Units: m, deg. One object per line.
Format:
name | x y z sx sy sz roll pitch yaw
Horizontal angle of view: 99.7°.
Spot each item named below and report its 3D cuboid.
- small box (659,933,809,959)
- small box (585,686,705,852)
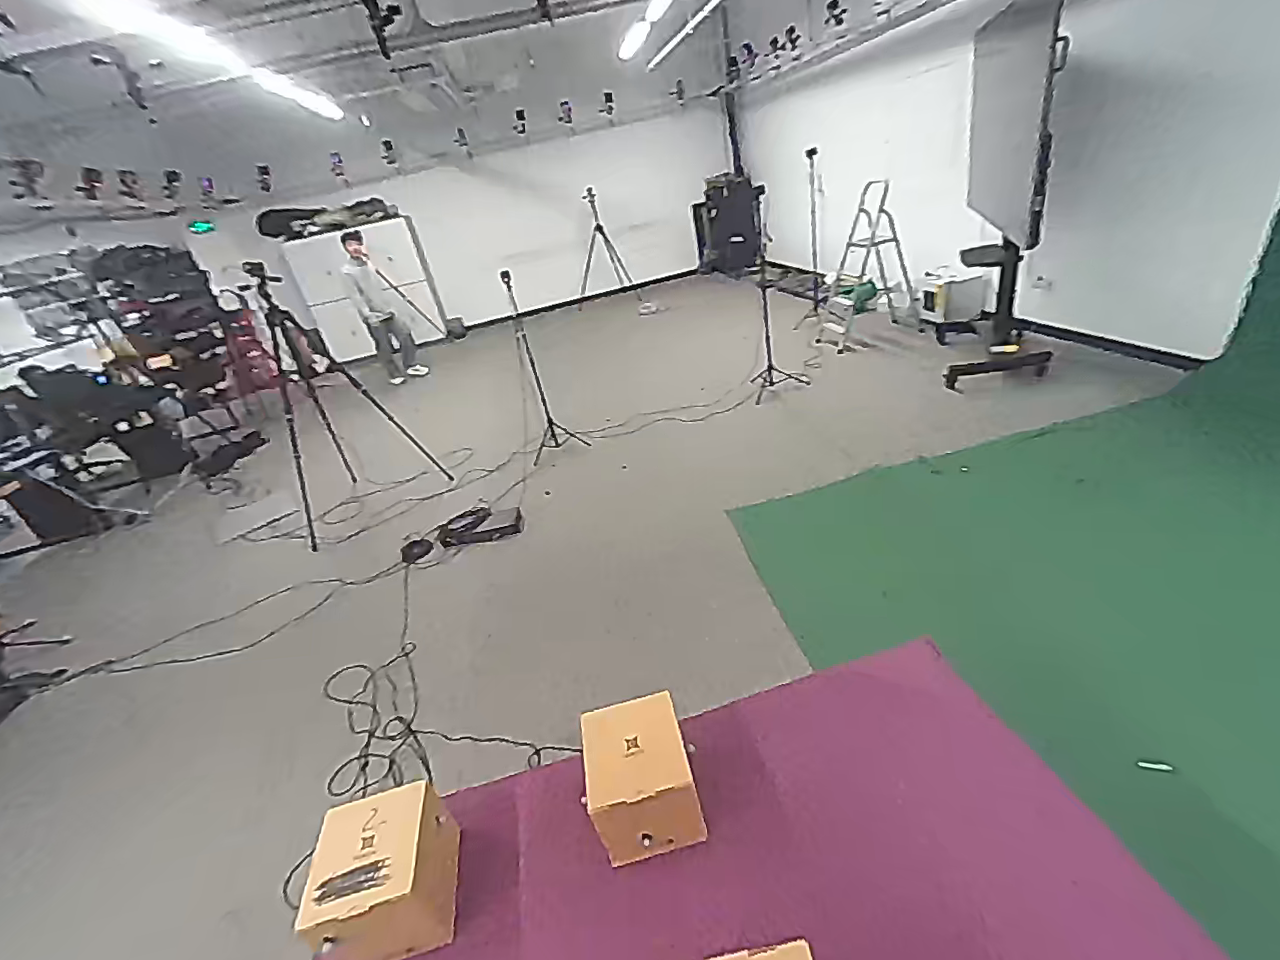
small box | 0.108 0.590 0.521 0.168 0.176 0.179 -13 32 1
small box | 0.006 0.502 0.945 0.168 0.176 0.179 -15 32 -2
